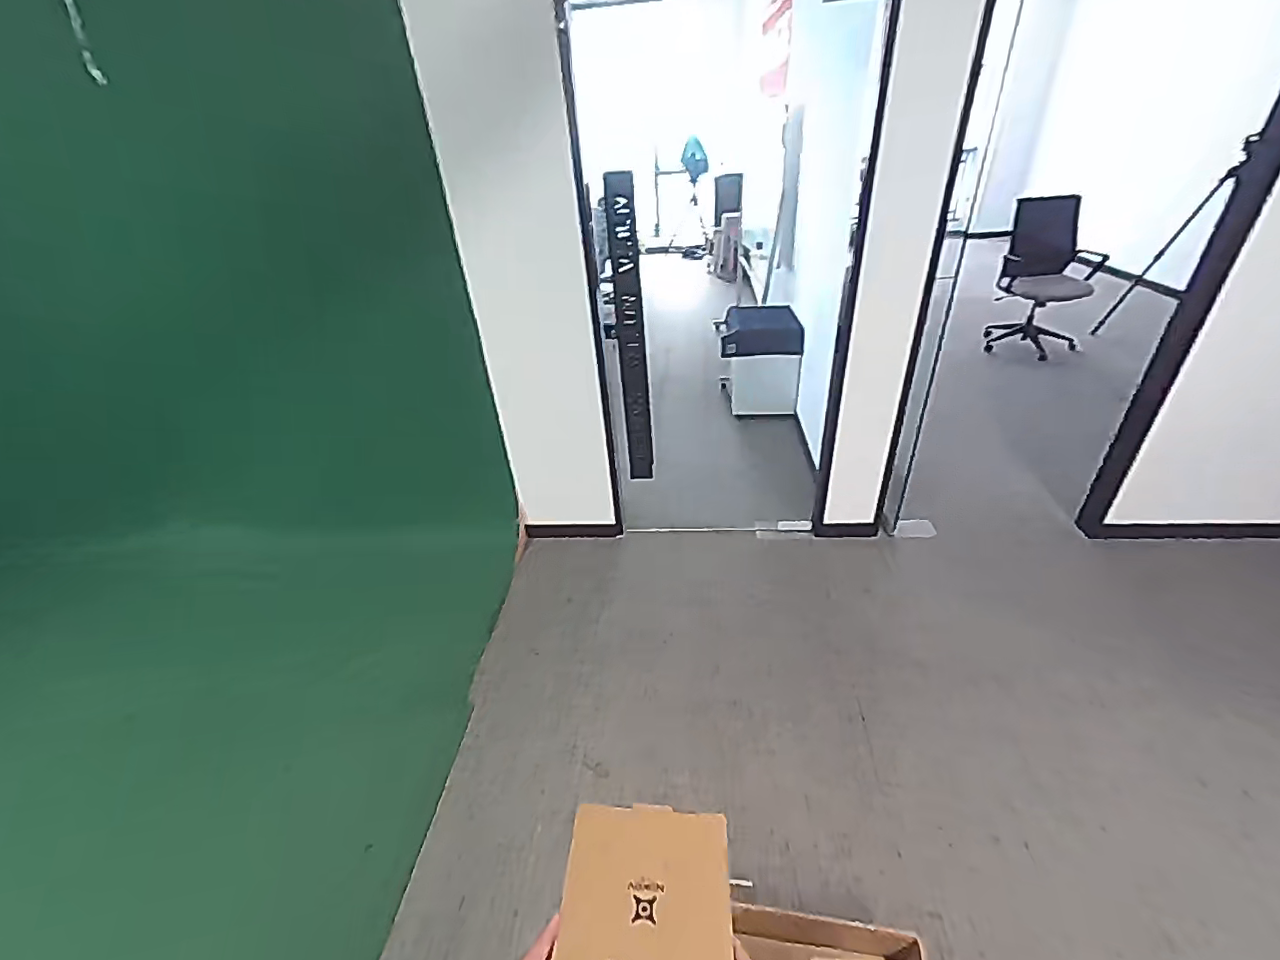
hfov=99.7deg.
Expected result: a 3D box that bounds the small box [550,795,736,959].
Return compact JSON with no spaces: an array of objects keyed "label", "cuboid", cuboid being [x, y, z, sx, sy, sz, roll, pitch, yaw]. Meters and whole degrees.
[{"label":"small box","cuboid":[0.007,0.464,0.559,0.168,0.176,0.179,1,30,4]}]
